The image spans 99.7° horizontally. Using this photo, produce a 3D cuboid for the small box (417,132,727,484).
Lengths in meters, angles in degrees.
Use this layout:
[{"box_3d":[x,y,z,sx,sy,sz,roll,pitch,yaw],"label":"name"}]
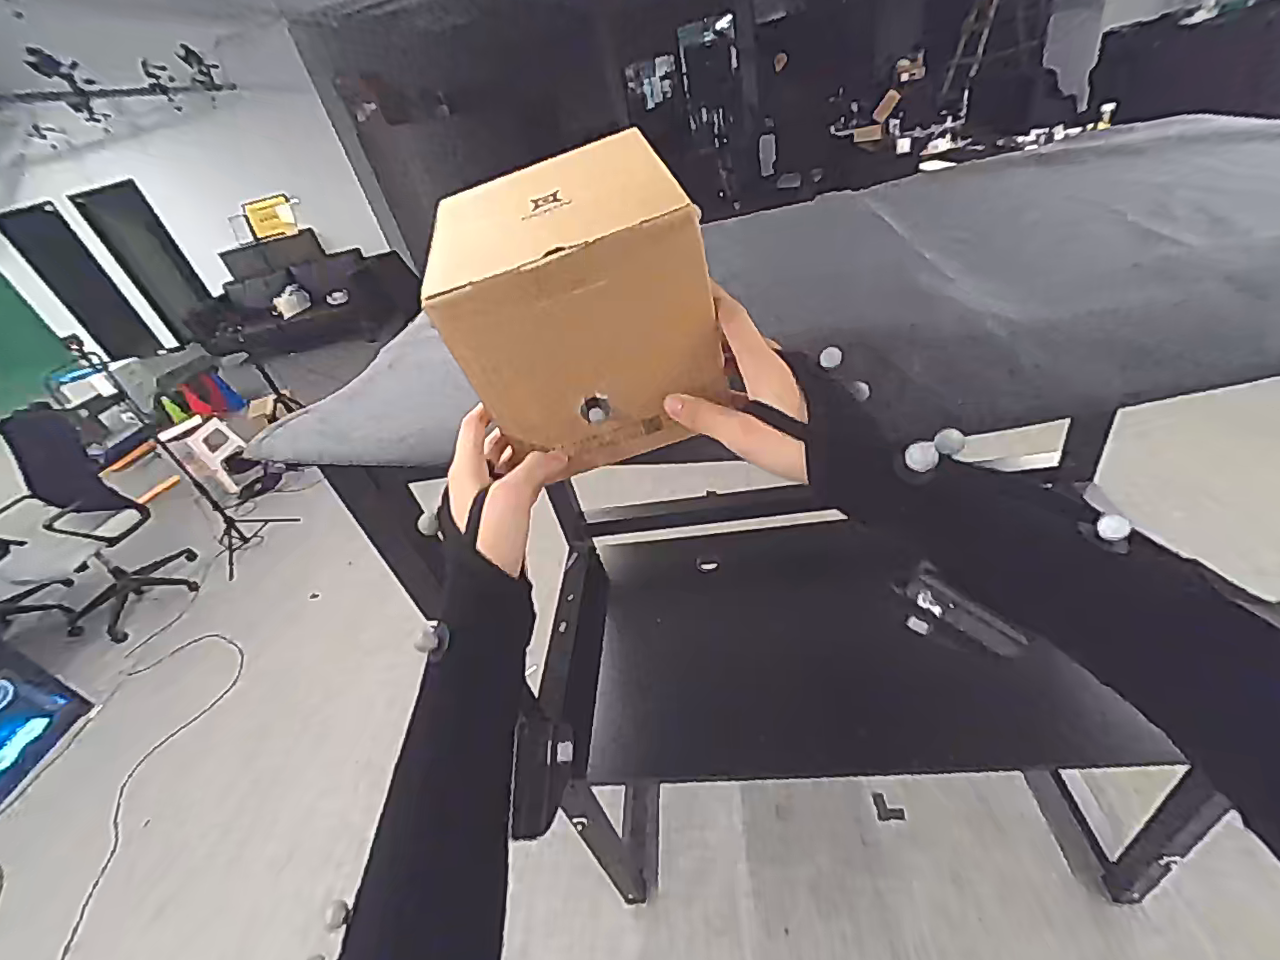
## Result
[{"box_3d":[-0.043,-0.128,0.414,0.168,0.176,0.179,-19,47,3],"label":"small box"}]
